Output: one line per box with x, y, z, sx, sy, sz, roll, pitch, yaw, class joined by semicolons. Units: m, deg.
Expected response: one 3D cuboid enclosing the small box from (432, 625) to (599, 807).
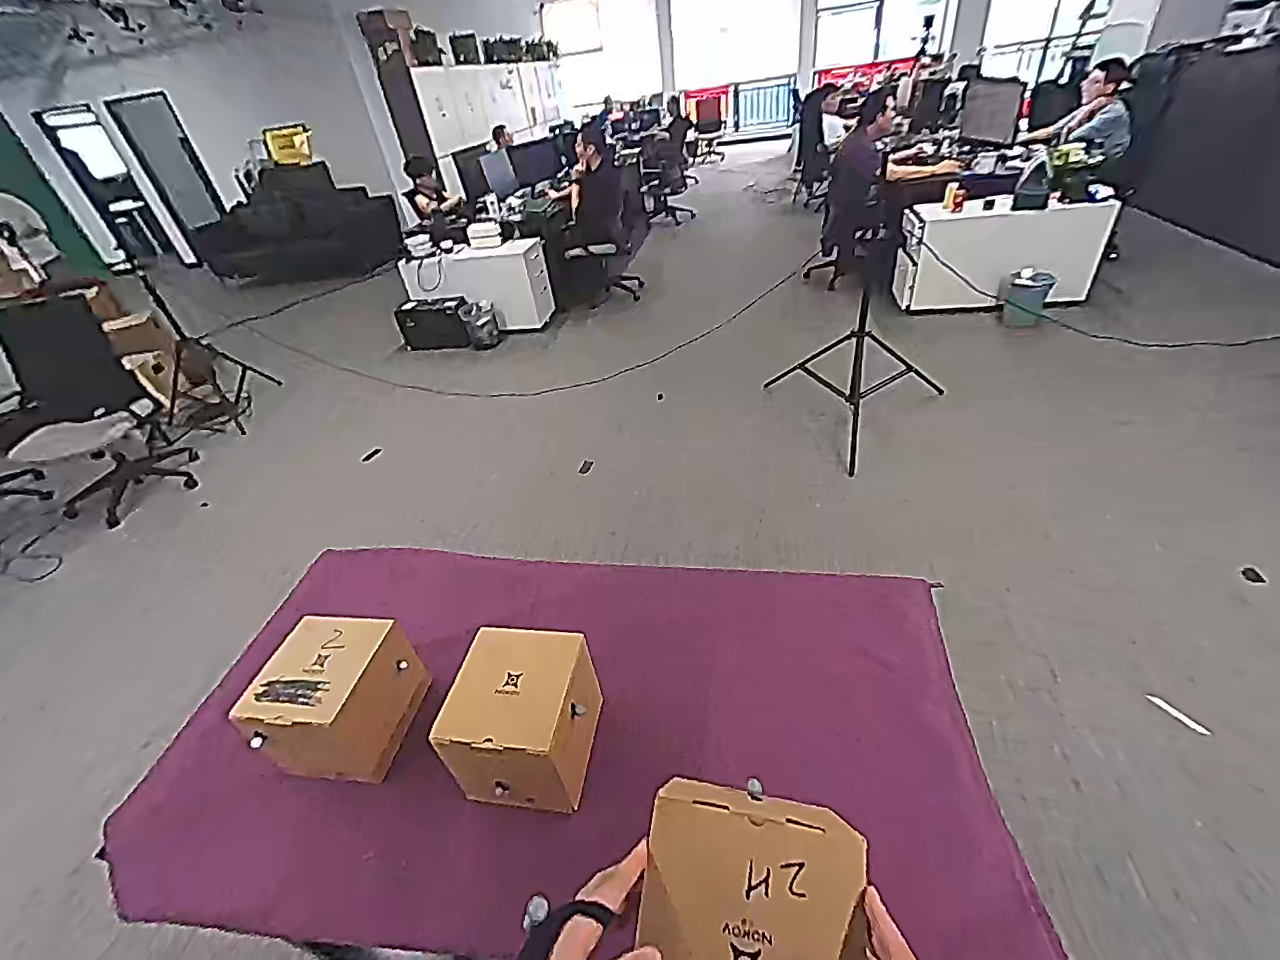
-0.163;0.336;0.780;0.168;0.176;0.179;0;38;12;small box

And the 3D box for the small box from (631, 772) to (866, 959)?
0.091;0.369;0.467;0.168;0.176;0.179;6;66;12;small box
